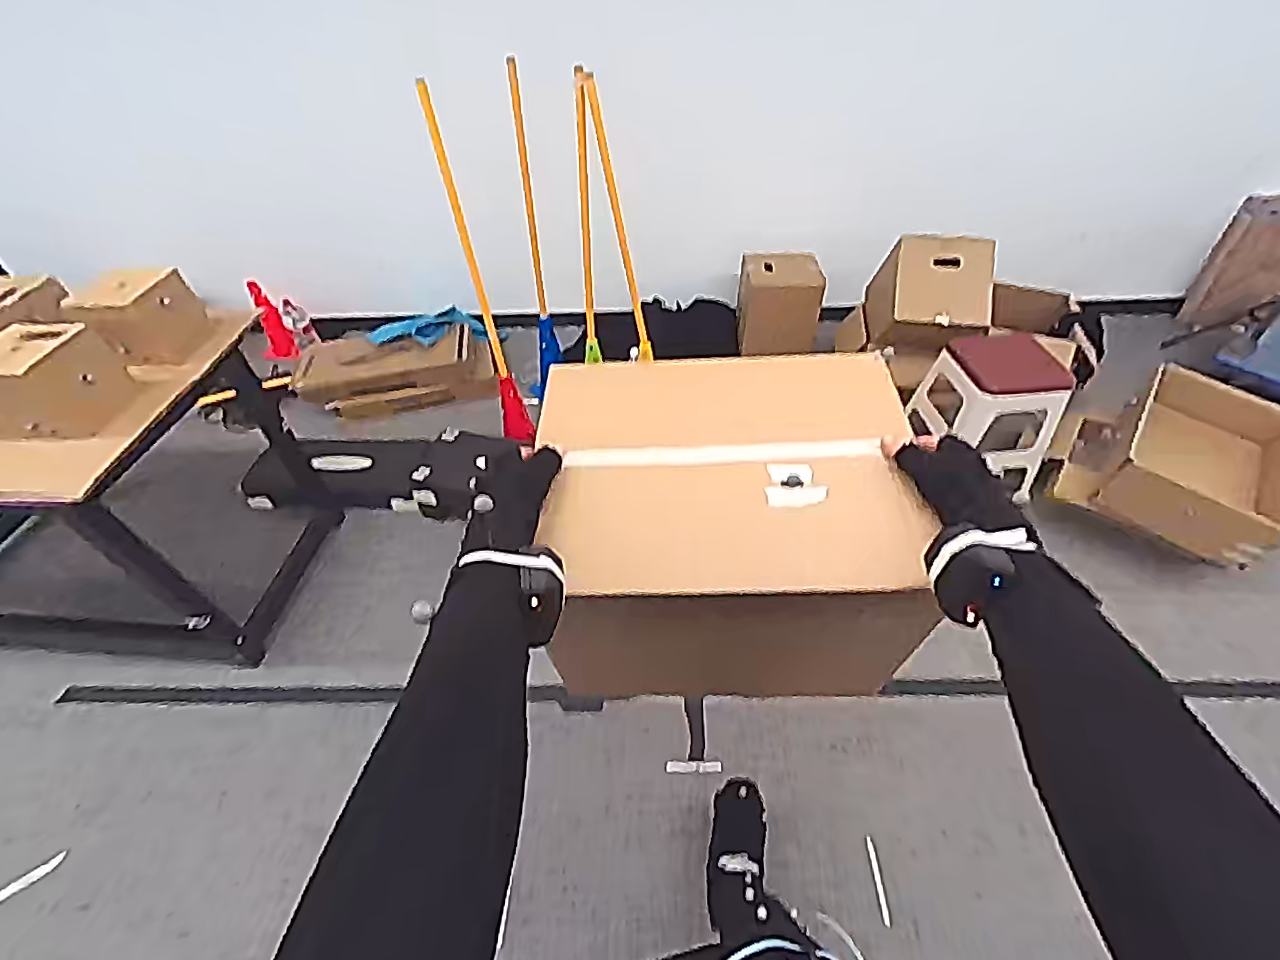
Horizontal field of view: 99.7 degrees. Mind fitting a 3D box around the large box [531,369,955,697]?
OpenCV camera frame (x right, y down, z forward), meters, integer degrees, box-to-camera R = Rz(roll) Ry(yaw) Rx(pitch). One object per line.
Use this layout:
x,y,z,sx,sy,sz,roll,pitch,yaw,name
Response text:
0.100,0.079,0.709,0.408,0.320,0.320,-2,52,3,large box
